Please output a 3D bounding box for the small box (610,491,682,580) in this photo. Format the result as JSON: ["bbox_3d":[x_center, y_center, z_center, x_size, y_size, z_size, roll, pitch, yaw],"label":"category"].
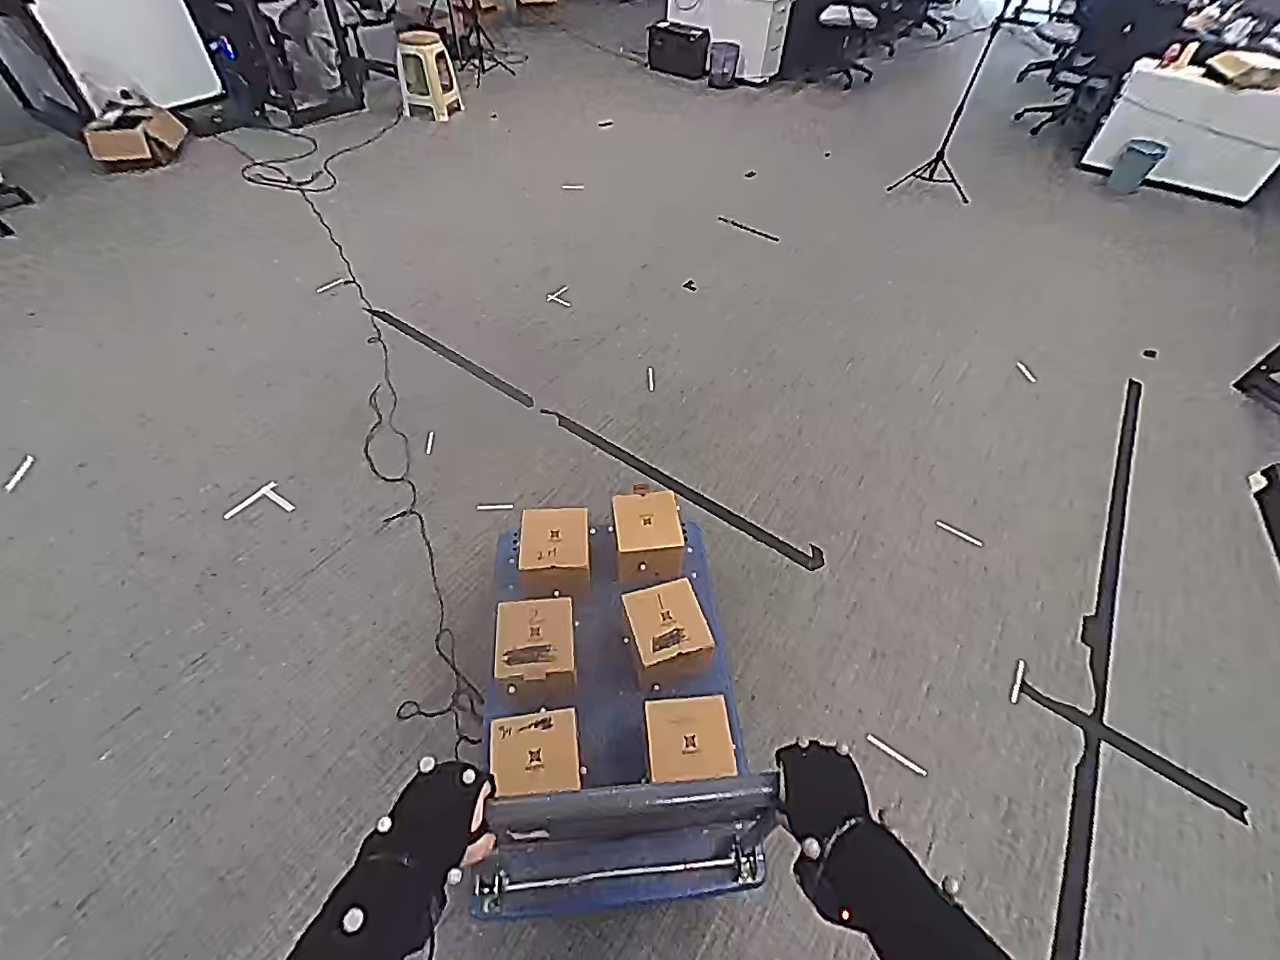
[{"bbox_3d":[0.012,0.155,1.441,0.168,0.176,0.179,-5,51,-7],"label":"small box"}]

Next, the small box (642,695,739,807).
[{"bbox_3d":[0.095,0.563,1.114,0.168,0.176,0.179,-2,50,-6],"label":"small box"}]

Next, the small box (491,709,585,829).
[{"bbox_3d":[-0.201,0.581,1.080,0.168,0.176,0.179,-5,52,-9],"label":"small box"}]

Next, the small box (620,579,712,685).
[{"bbox_3d":[0.055,0.364,1.272,0.168,0.176,0.179,-12,52,-13],"label":"small box"}]

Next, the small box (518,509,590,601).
[{"bbox_3d":[-0.215,0.194,1.394,0.168,0.176,0.179,-2,52,-4],"label":"small box"}]
